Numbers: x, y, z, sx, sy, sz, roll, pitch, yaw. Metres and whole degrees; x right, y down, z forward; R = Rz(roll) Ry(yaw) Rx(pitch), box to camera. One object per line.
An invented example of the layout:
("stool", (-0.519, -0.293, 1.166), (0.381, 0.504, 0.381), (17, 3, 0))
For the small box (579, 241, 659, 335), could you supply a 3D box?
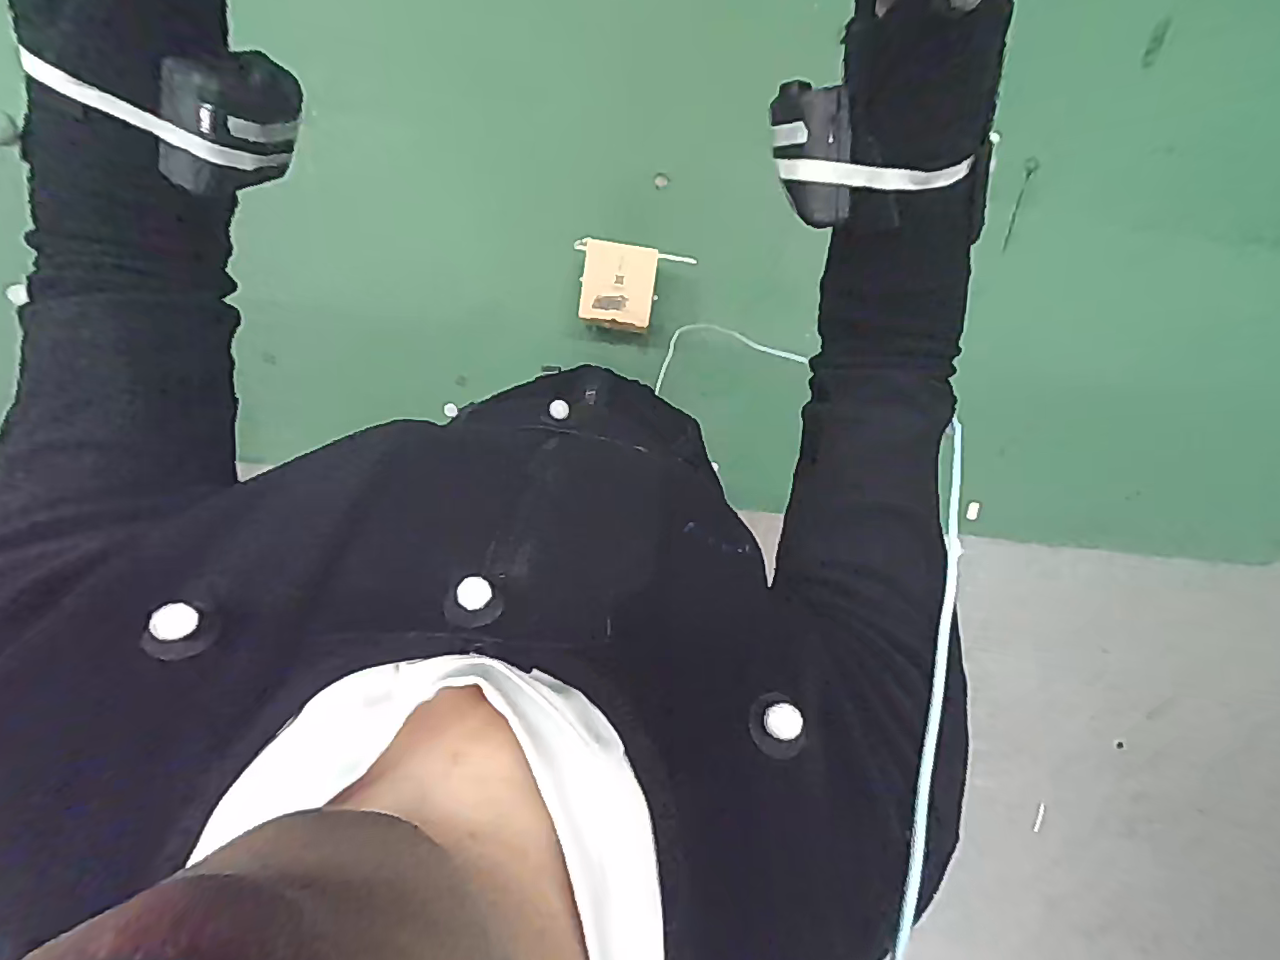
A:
("small box", (-0.050, -0.460, 1.324), (0.168, 0.176, 0.179), (8, 99, -3))
